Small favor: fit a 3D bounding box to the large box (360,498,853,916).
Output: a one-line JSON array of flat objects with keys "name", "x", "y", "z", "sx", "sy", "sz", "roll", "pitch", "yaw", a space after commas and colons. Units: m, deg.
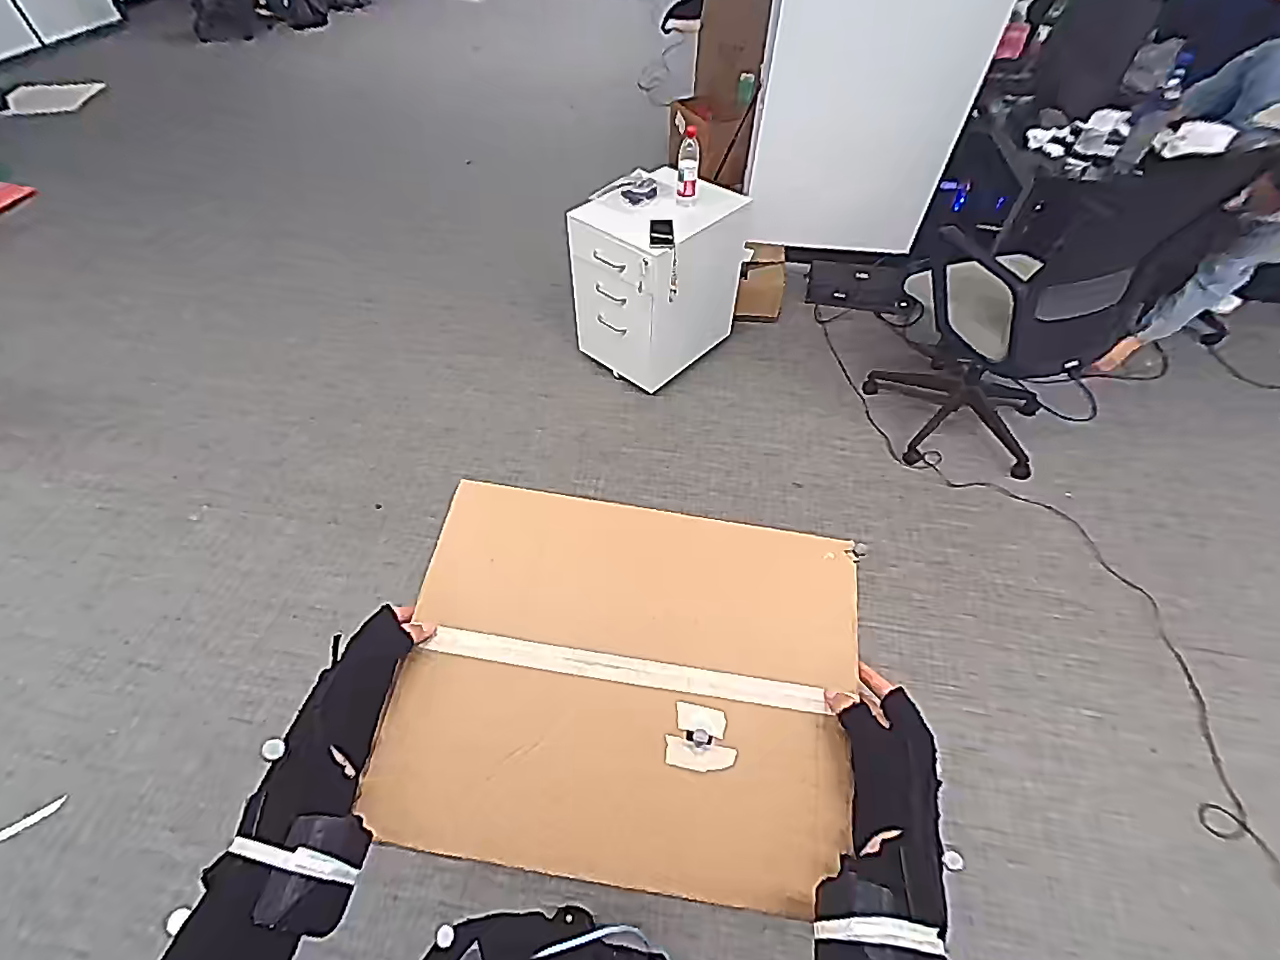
[{"name": "large box", "x": -0.018, "y": 0.245, "z": 0.625, "sx": 0.408, "sy": 0.320, "sz": 0.320, "roll": 9, "pitch": 65, "yaw": 1}]
